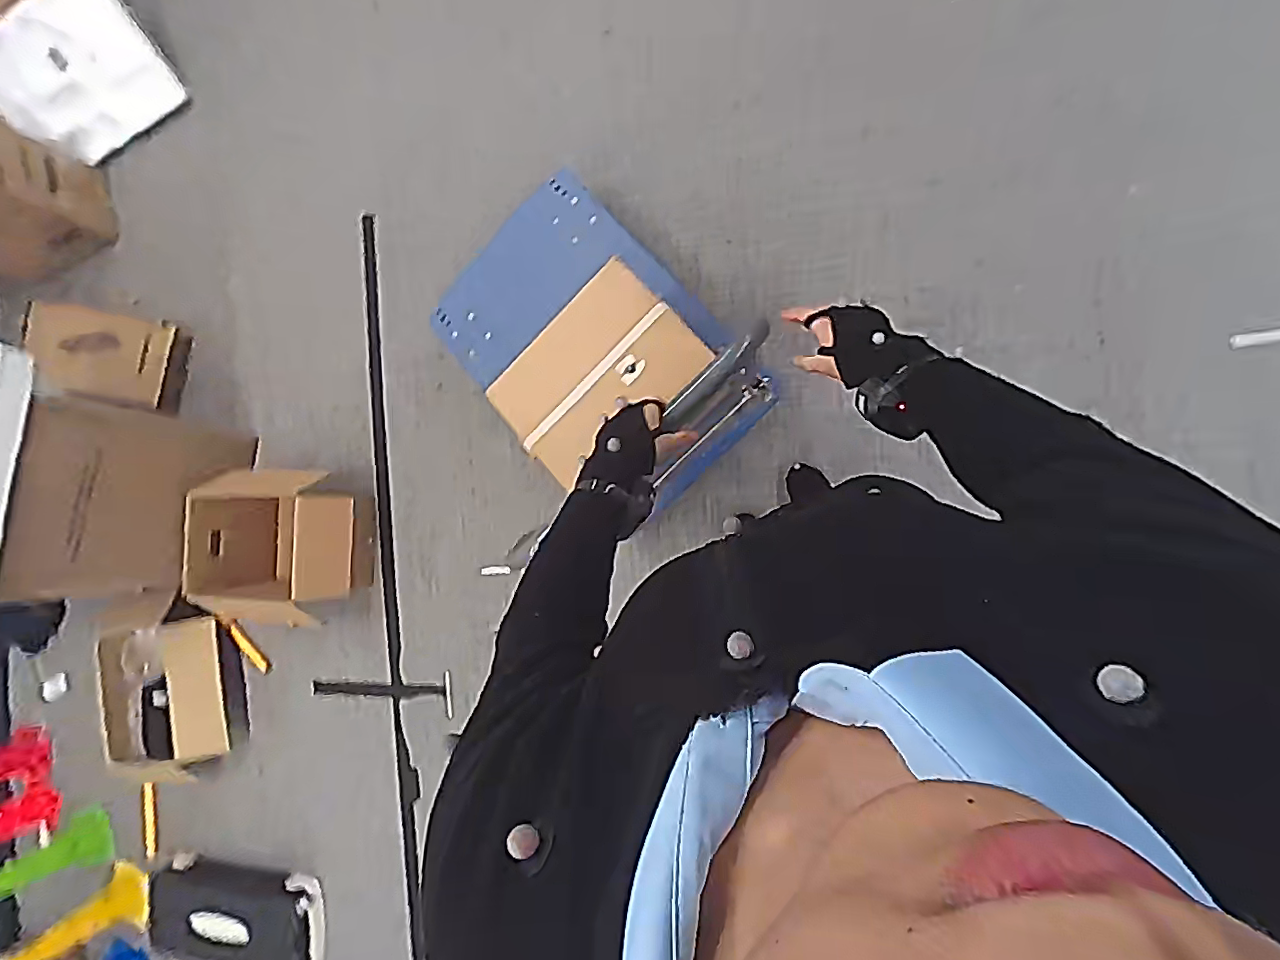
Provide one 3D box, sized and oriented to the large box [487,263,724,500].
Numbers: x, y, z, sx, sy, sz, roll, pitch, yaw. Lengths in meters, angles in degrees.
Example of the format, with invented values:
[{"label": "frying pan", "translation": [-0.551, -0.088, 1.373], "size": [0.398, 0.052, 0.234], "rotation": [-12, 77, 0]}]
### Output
[{"label": "large box", "translation": [-0.062, -0.196, 1.256], "size": [0.408, 0.320, 0.320], "rotation": [-44, 80, 9]}]
